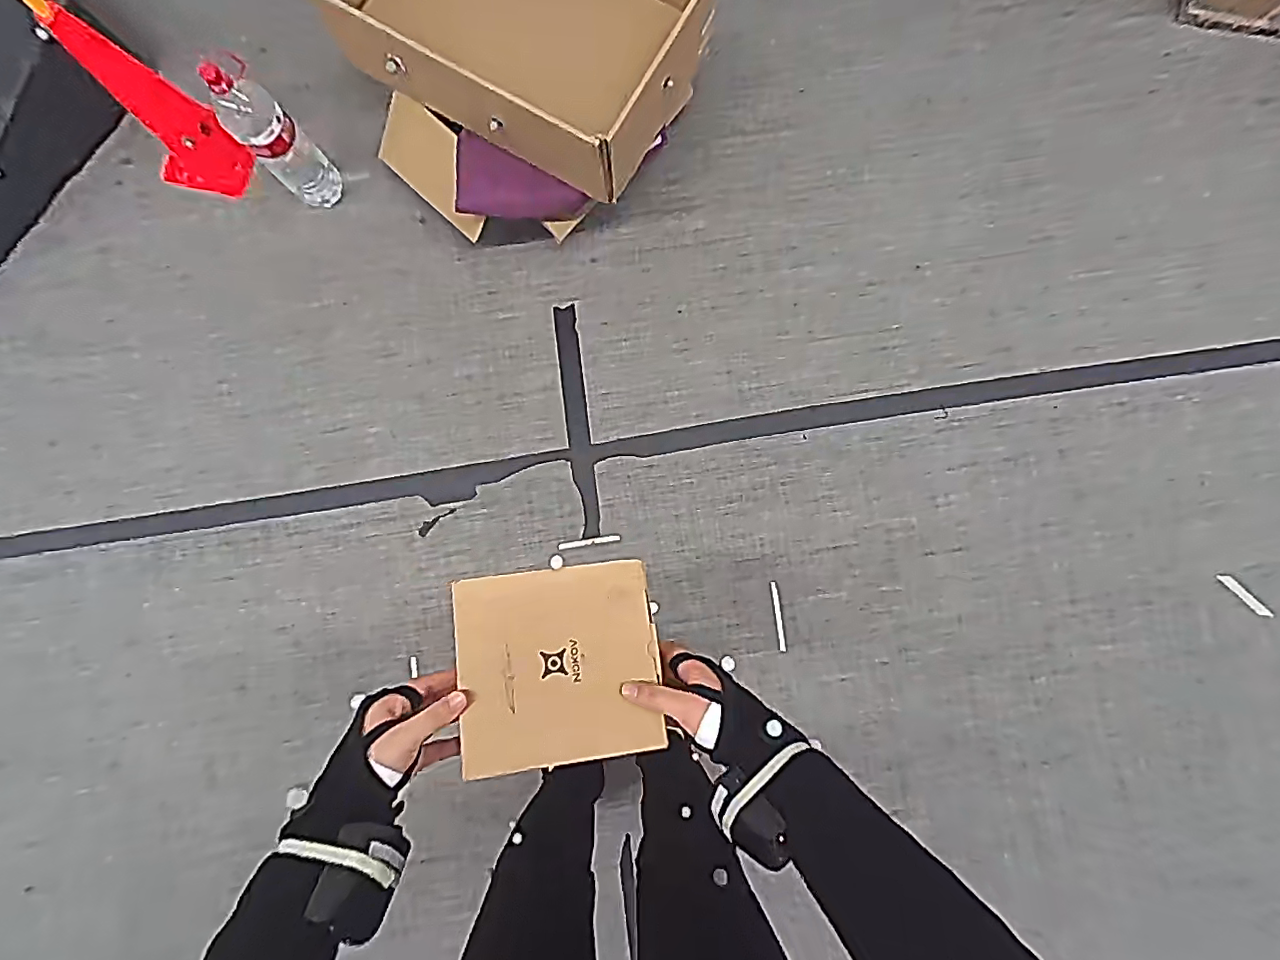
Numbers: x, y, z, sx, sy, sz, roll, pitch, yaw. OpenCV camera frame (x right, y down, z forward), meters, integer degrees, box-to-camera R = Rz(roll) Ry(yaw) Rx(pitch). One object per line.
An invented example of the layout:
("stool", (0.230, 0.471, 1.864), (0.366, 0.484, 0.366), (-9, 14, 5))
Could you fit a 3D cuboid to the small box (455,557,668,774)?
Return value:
("small box", (-0.077, 0.180, 0.558), (0.179, 0.176, 0.168), (-8, 74, -5))
